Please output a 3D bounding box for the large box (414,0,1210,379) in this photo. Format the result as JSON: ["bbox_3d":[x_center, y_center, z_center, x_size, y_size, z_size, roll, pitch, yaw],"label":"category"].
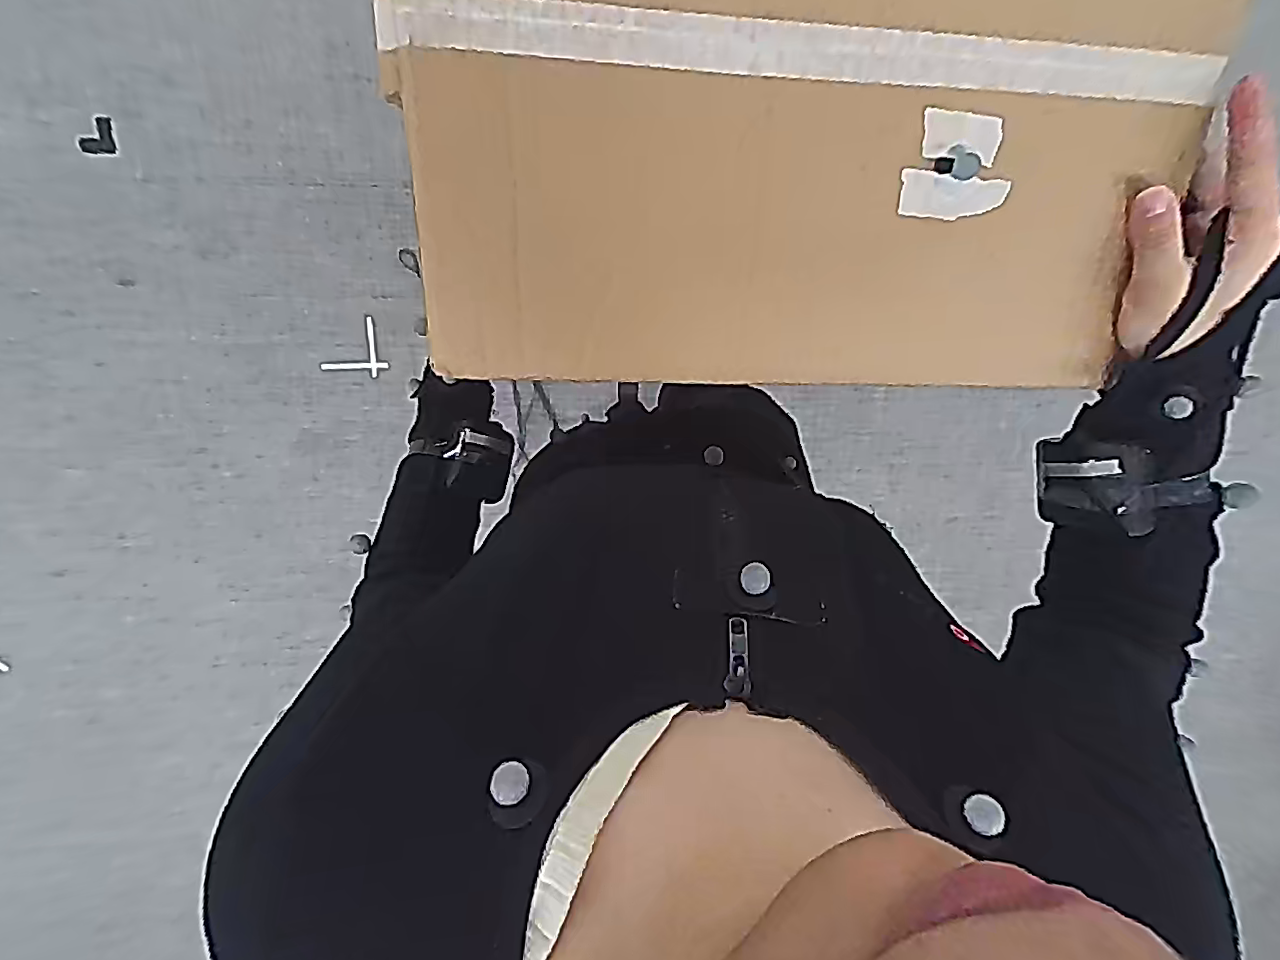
[{"bbox_3d":[0.074,-0.258,0.408,0.408,0.320,0.320,-1,111,-7],"label":"large box"}]
